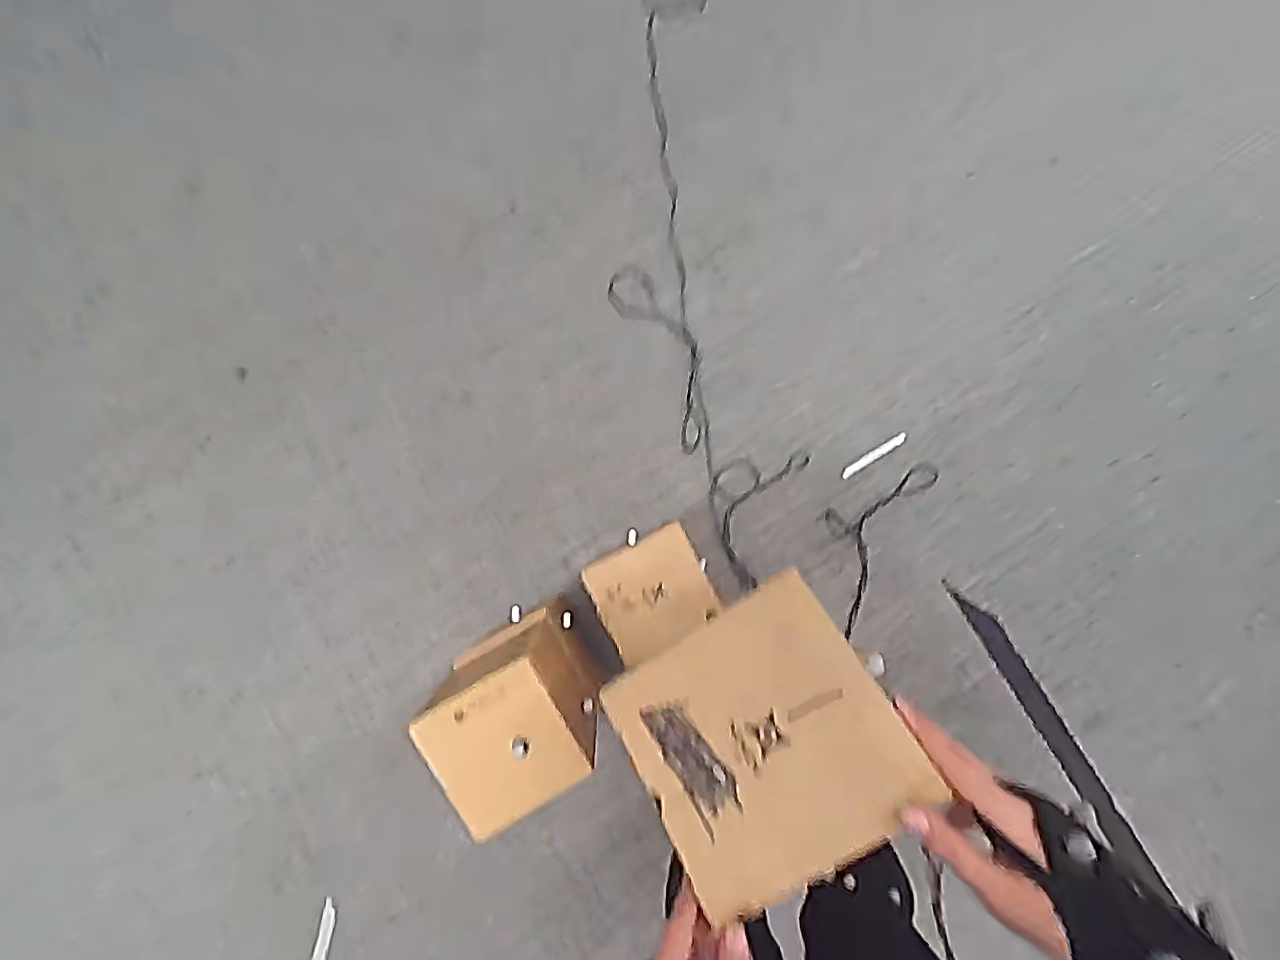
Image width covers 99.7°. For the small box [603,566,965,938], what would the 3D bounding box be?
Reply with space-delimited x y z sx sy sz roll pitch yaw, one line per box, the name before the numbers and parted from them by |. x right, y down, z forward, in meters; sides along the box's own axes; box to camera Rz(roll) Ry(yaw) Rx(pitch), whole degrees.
small box | 0.106 0.191 0.422 0.179 0.176 0.168 -35 66 6

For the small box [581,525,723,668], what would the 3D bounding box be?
small box | 0.016 0.184 0.913 0.179 0.176 0.168 -27 86 -3
